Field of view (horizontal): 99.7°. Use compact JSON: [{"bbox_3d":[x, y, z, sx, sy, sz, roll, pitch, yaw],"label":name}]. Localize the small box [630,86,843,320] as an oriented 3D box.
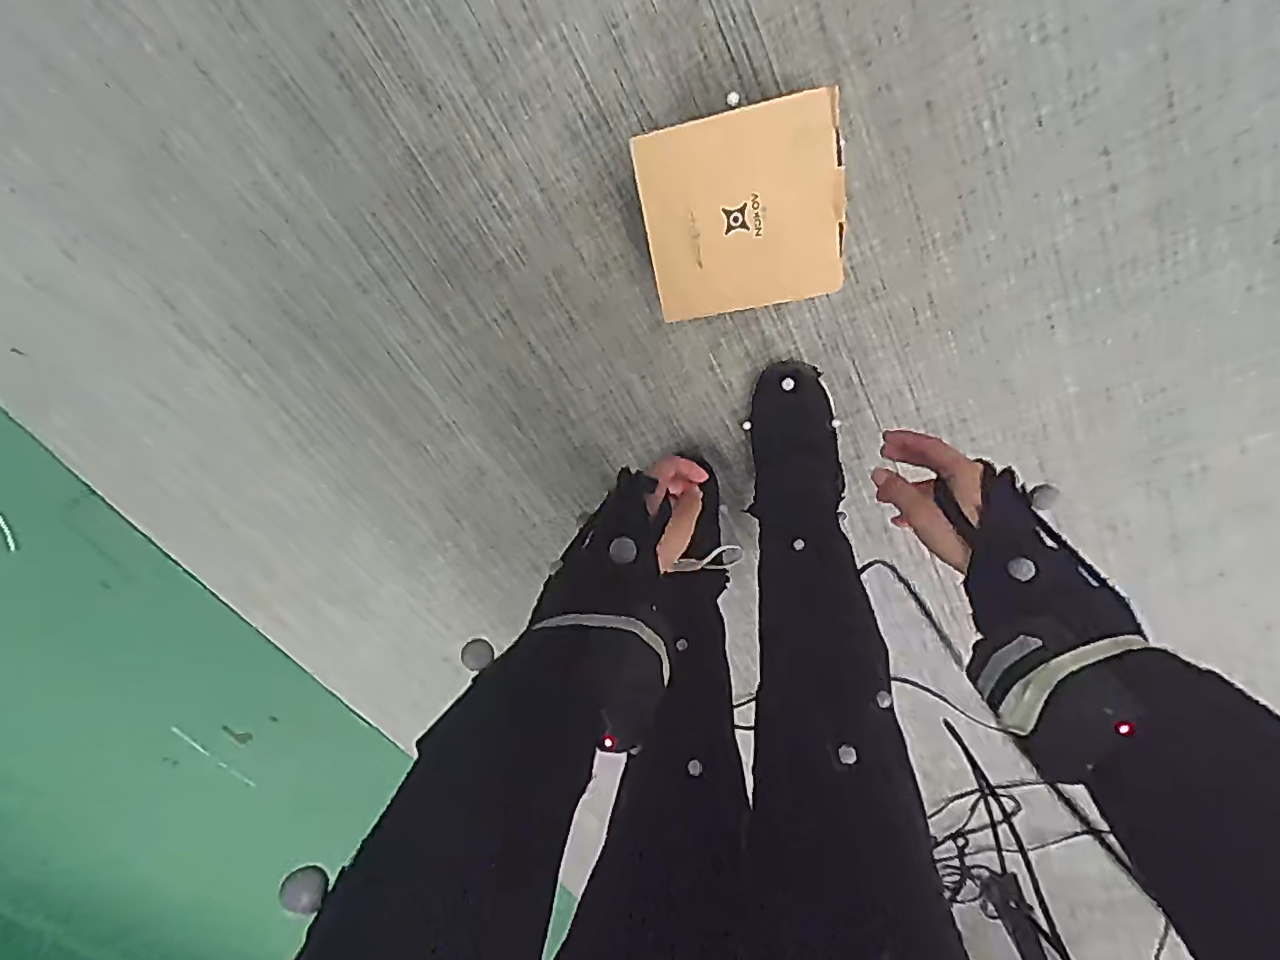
[{"bbox_3d":[0.102,-0.282,0.557,0.179,0.176,0.168,-7,120,15],"label":"small box"}]
